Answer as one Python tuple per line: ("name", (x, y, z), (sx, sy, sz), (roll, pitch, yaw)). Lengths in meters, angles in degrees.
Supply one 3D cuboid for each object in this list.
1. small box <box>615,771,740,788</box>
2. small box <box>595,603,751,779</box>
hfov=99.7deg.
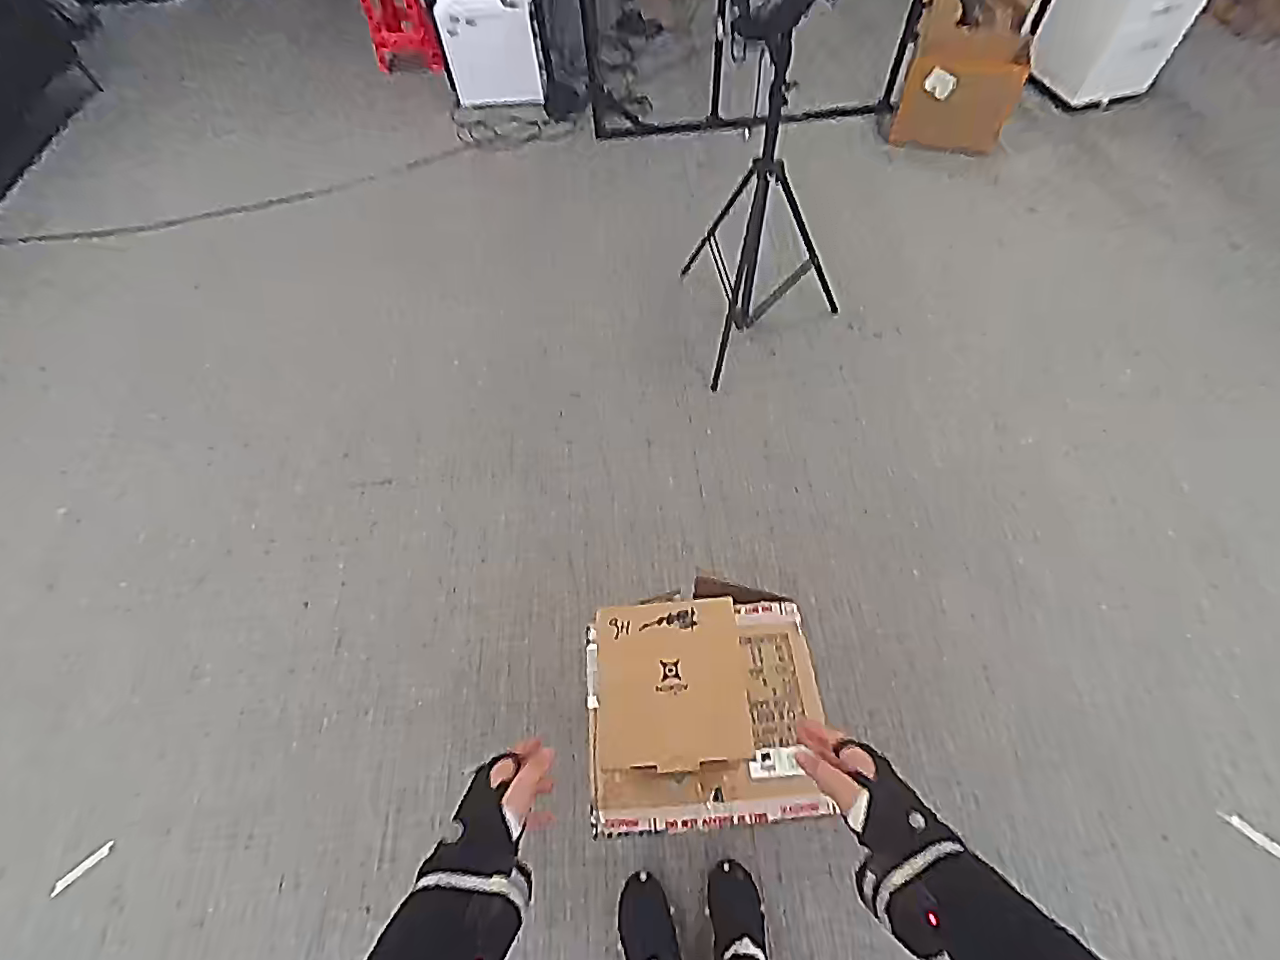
("small box", (0.045, 0.353, 0.808), (0.168, 0.176, 0.179), (-7, 62, 1))
("small box", (0.038, 0.263, 0.669), (0.168, 0.176, 0.179), (-5, 62, 2))
